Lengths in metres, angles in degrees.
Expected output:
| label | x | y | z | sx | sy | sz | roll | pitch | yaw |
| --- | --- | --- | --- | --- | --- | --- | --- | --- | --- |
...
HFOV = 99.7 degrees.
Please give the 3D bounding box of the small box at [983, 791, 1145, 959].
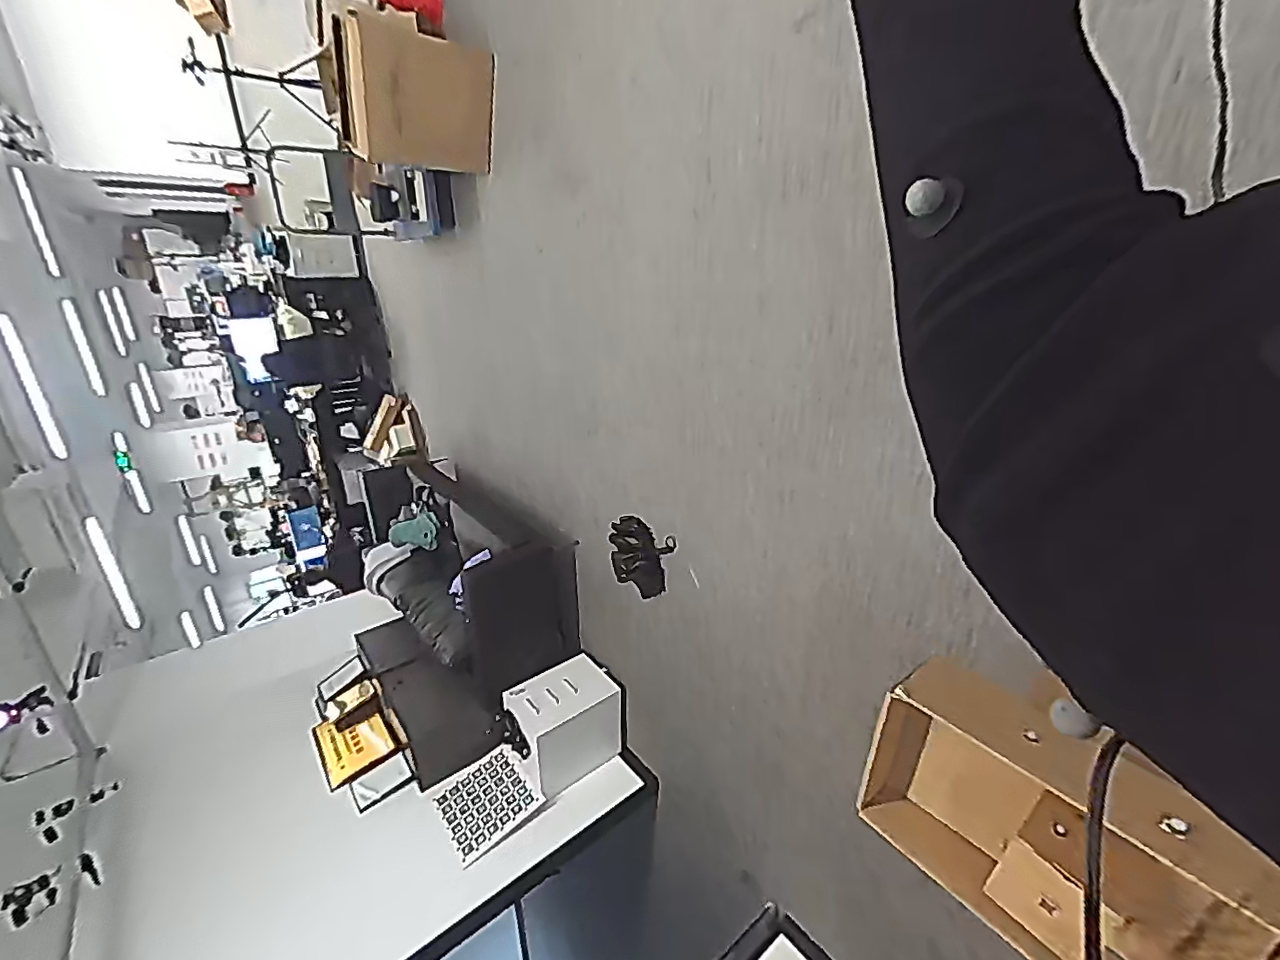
| label | x | y | z | sx | sy | sz | roll | pitch | yaw |
| --- | --- | --- | --- | --- | --- | --- | --- | --- | --- |
| small box | 0.772 | 0.719 | 0.986 | 0.168 | 0.176 | 0.179 | 32 | 131 | 46 |
